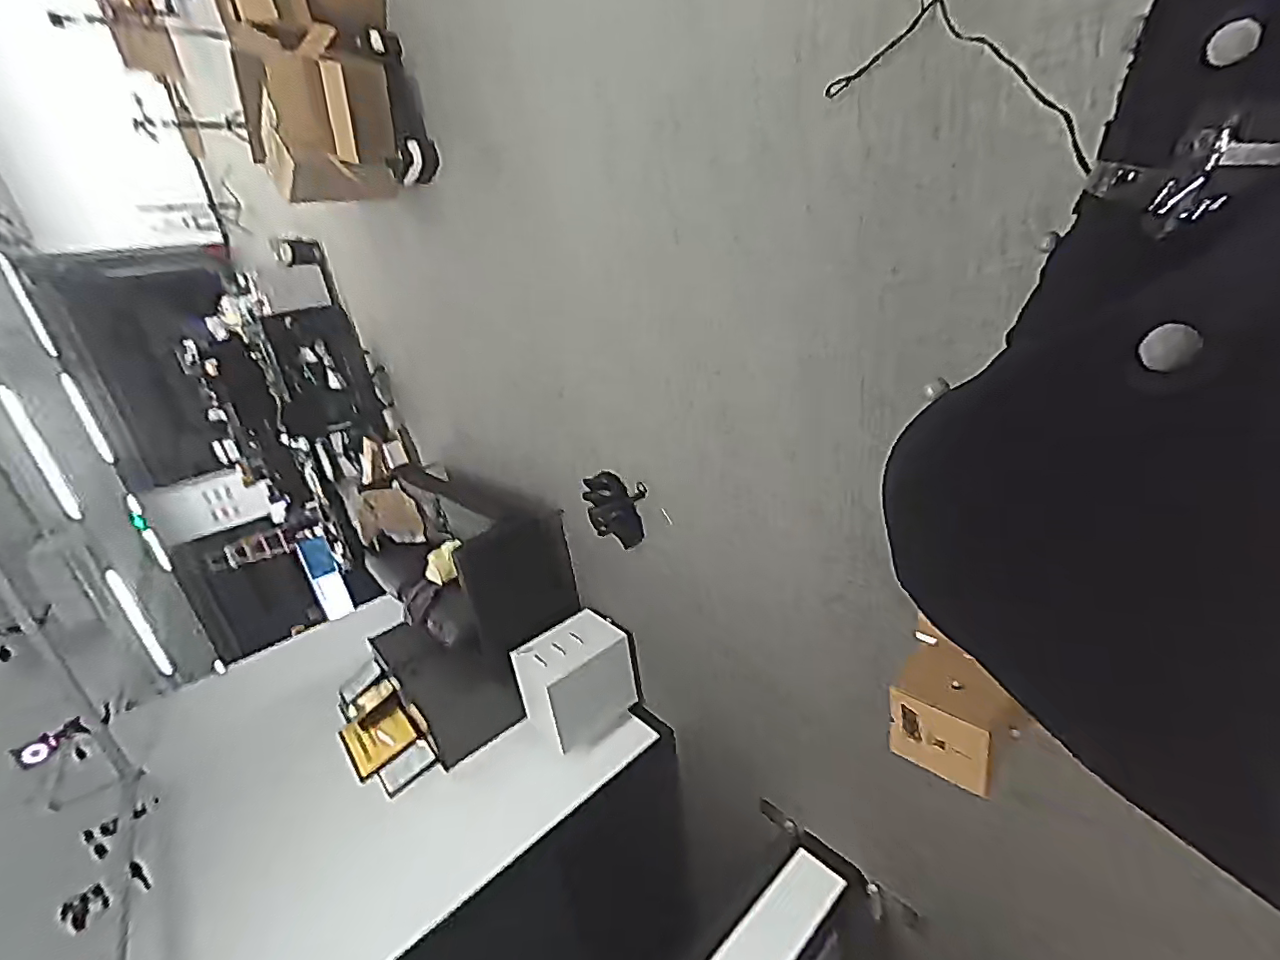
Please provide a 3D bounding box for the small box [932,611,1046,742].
[{"bbox_3d":[0.750,0.410,1.165,0.168,0.176,0.179,12,119,50],"label":"small box"}]

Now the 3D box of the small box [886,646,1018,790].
[{"bbox_3d":[0.619,0.459,1.077,0.179,0.176,0.168,12,119,51],"label":"small box"}]
